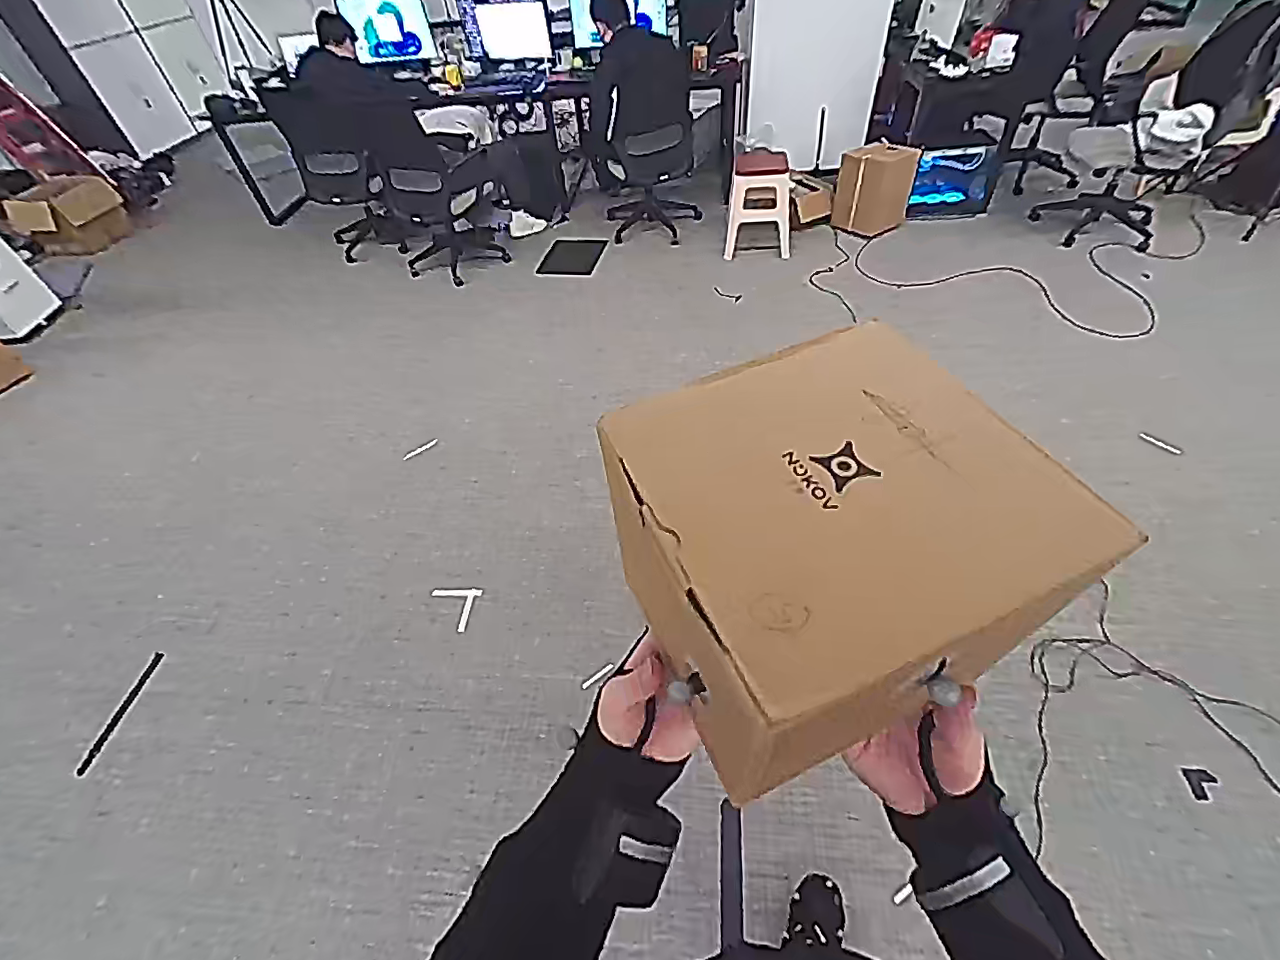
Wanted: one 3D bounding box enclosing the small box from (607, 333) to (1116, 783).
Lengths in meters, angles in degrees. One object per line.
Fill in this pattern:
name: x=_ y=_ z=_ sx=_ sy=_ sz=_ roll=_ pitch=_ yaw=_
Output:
small box: x=0.097 y=0.049 z=0.318 sx=0.179 sy=0.176 sz=0.168 roll=-21 pitch=53 yaw=-13
